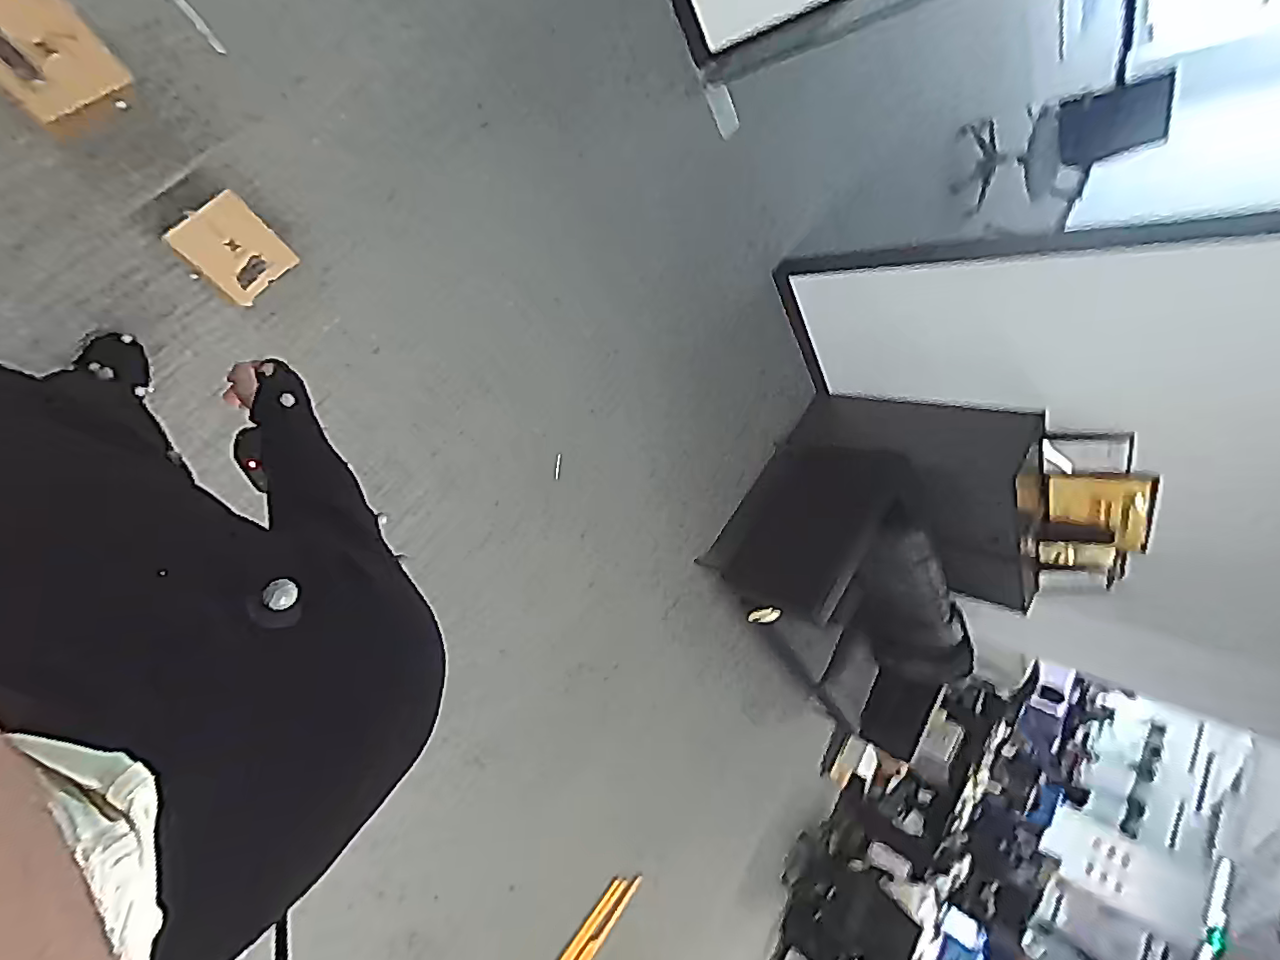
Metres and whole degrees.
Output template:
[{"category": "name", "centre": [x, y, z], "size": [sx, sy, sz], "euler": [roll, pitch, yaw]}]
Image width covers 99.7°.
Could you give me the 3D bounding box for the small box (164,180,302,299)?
[{"category": "small box", "centre": [-0.894, -0.521, 1.190], "size": [0.168, 0.176, 0.179], "euler": [-52, 131, -19]}]
